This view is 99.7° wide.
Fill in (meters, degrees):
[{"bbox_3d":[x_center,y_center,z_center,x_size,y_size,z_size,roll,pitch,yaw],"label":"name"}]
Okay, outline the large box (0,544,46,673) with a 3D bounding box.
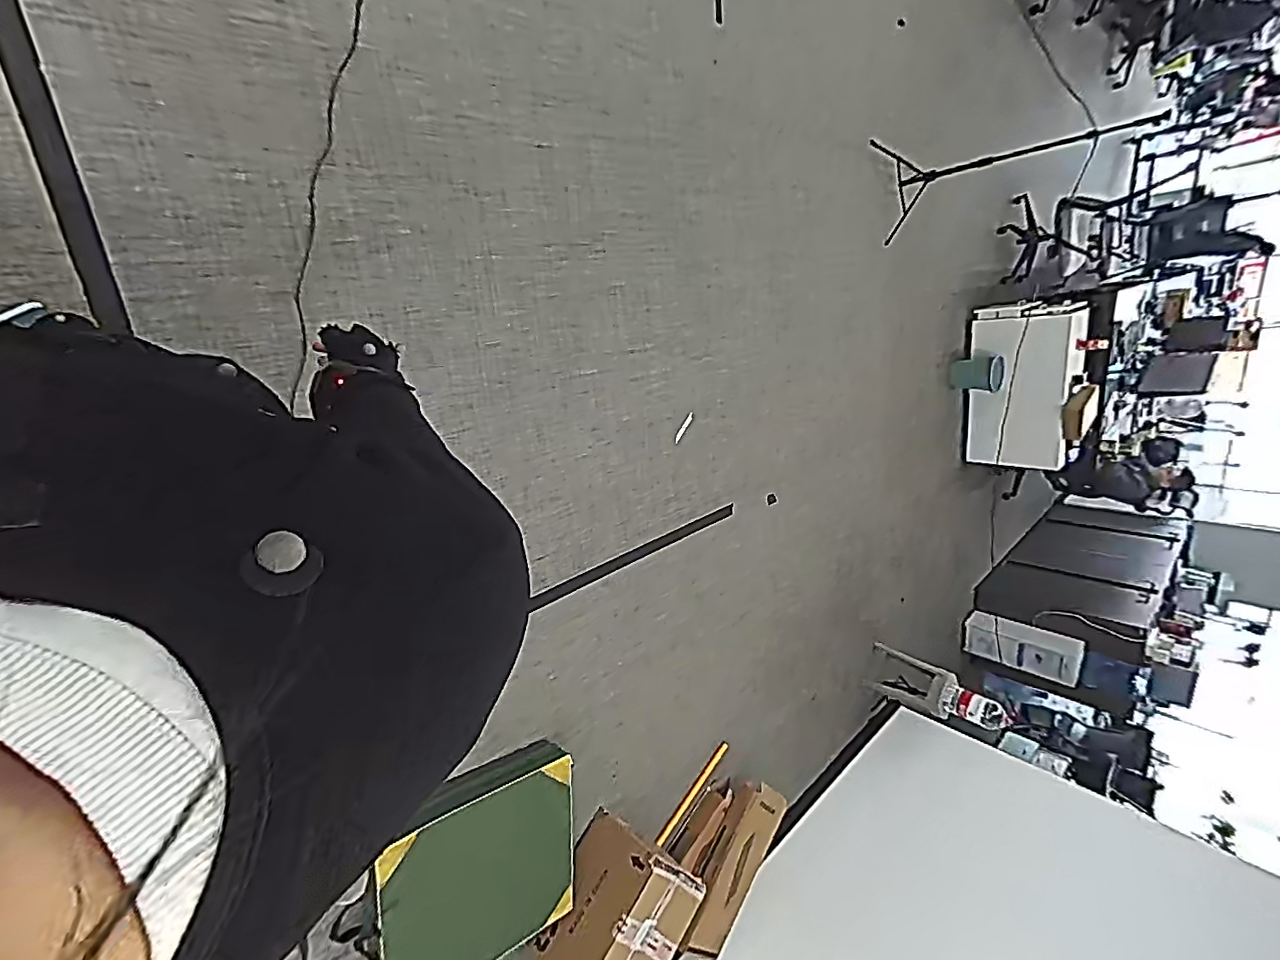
[{"bbox_3d":[-0.931,0.068,0.526,0.320,0.408,0.320,-35,155,-34],"label":"large box"}]
